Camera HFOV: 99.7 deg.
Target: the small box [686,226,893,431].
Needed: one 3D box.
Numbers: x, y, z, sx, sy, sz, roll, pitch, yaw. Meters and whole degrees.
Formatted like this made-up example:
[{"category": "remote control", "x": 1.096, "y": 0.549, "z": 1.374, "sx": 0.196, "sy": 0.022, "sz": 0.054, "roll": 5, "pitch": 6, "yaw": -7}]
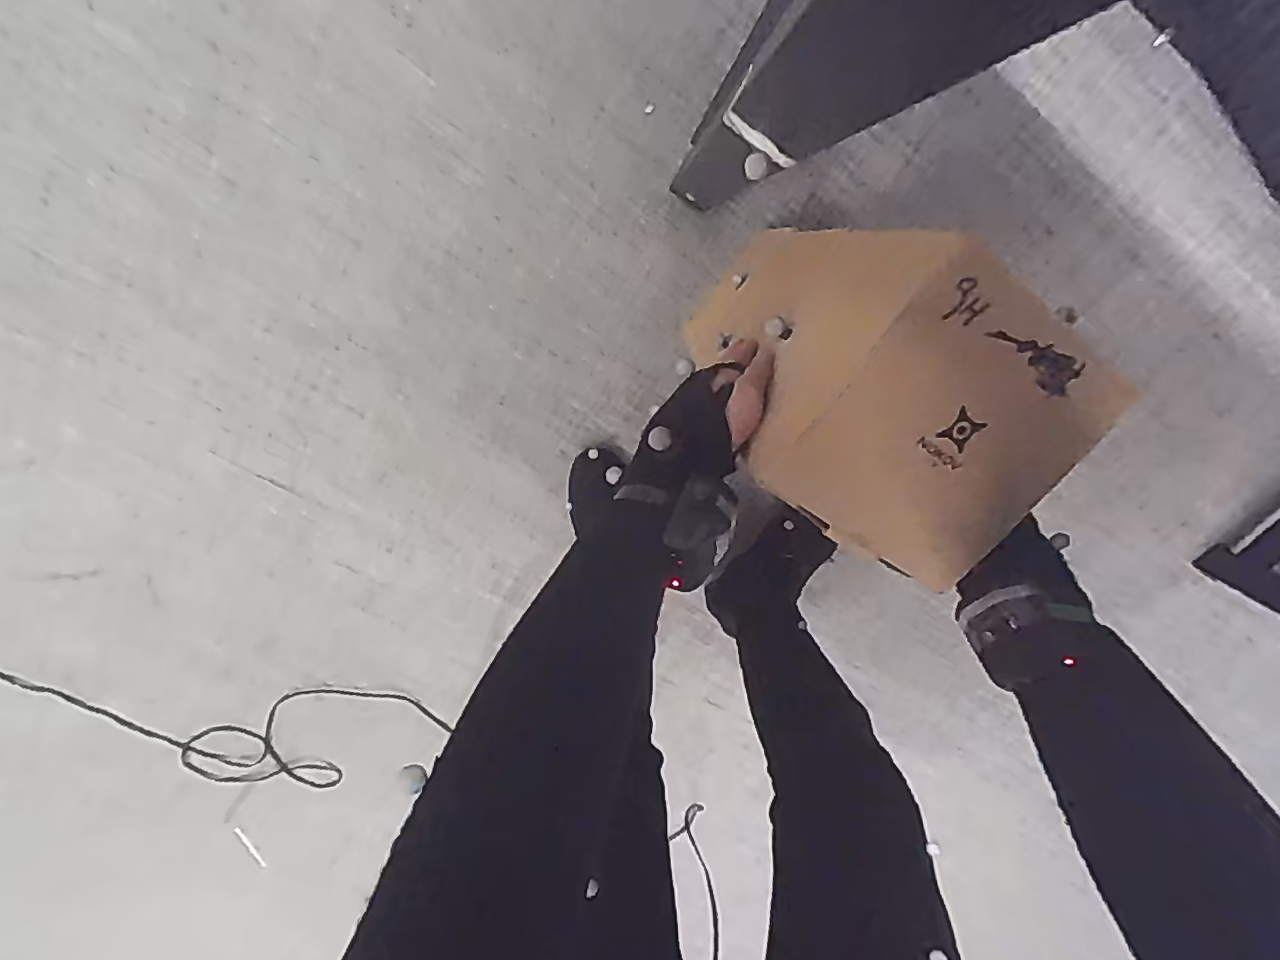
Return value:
[{"category": "small box", "x": 0.173, "y": -0.199, "z": 0.695, "sx": 0.168, "sy": 0.176, "sz": 0.179, "roll": 33, "pitch": 109, "yaw": -15}]
